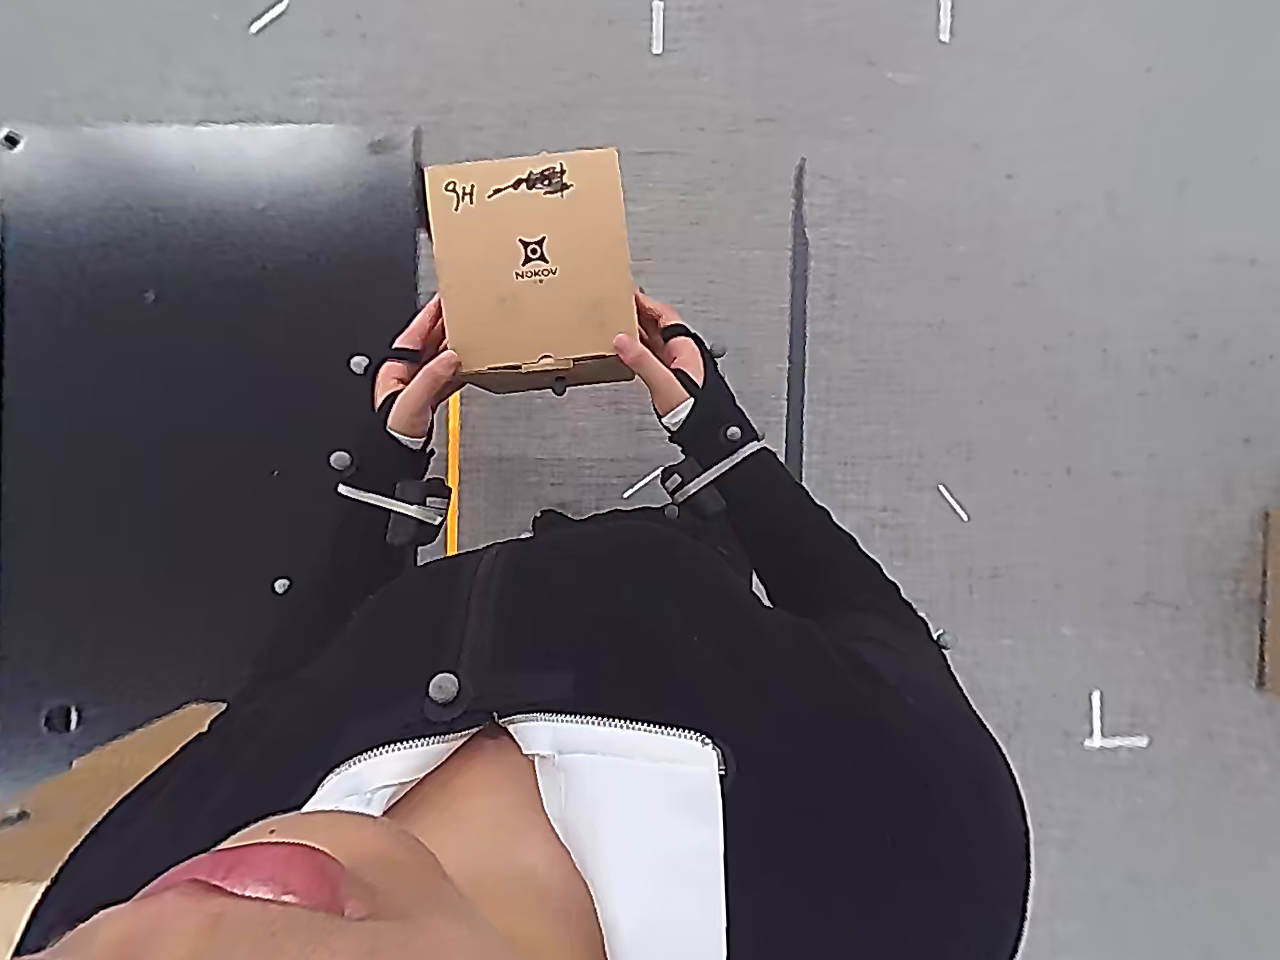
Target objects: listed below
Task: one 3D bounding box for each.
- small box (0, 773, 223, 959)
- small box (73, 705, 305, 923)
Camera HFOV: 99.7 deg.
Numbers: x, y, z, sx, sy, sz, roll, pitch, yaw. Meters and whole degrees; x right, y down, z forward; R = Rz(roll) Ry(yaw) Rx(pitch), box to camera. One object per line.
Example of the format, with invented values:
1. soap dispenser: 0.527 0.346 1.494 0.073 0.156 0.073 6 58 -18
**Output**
1. small box: -0.555 0.408 0.524 0.179 0.176 0.168 0 91 -1
2. small box: -0.557 0.408 0.686 0.168 0.176 0.179 1 88 0
